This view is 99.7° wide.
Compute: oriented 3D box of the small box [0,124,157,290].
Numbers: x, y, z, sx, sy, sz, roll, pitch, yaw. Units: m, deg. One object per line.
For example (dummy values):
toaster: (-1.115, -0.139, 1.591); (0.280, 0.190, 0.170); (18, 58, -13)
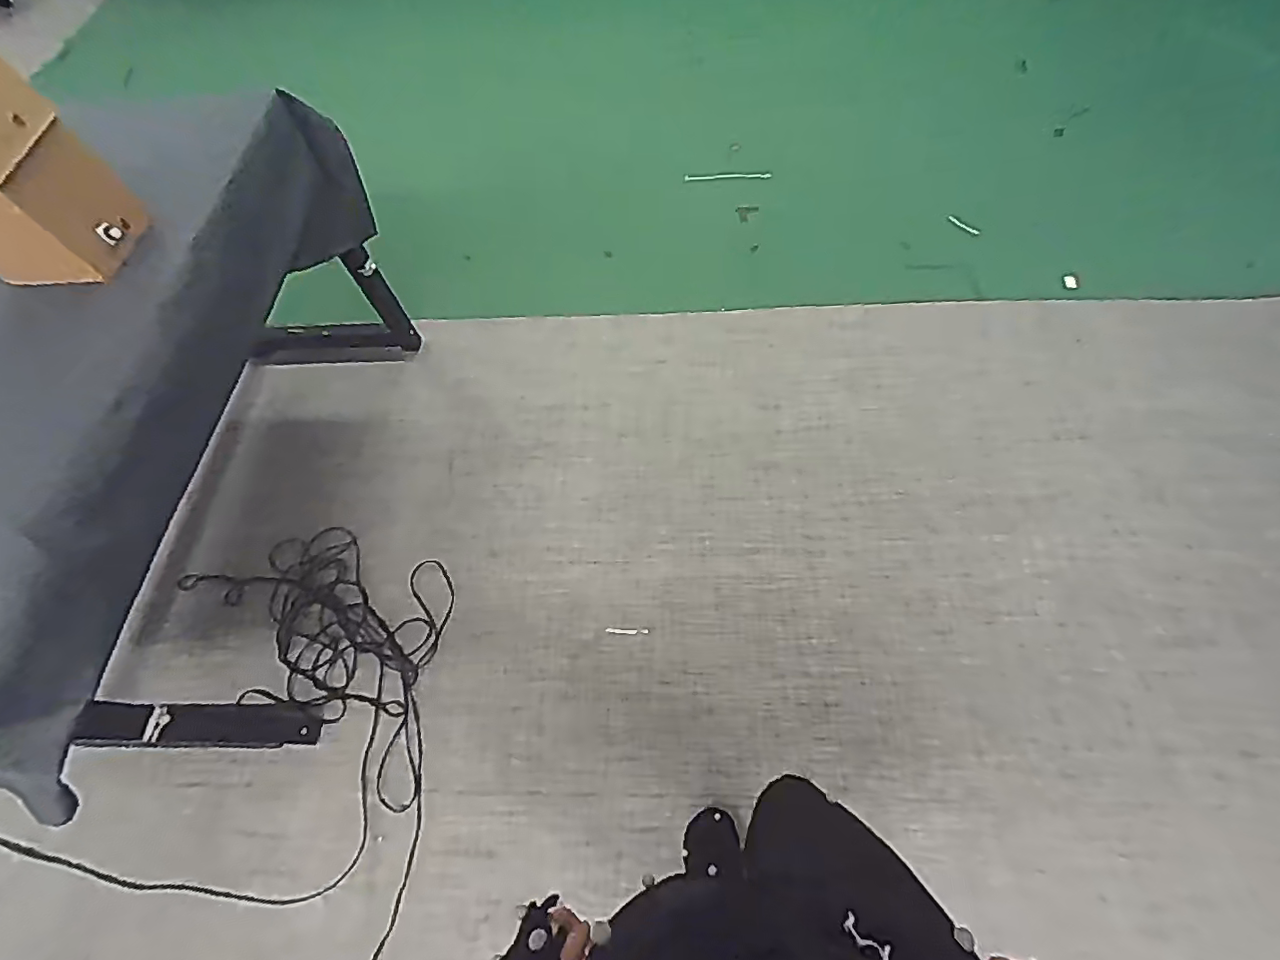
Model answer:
small box: (-0.921, -0.411, 0.831); (0.179, 0.176, 0.168); (0, 64, 4)

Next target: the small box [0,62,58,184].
small box: (-0.925, -0.482, 0.684); (0.179, 0.176, 0.168); (-2, 64, 5)
